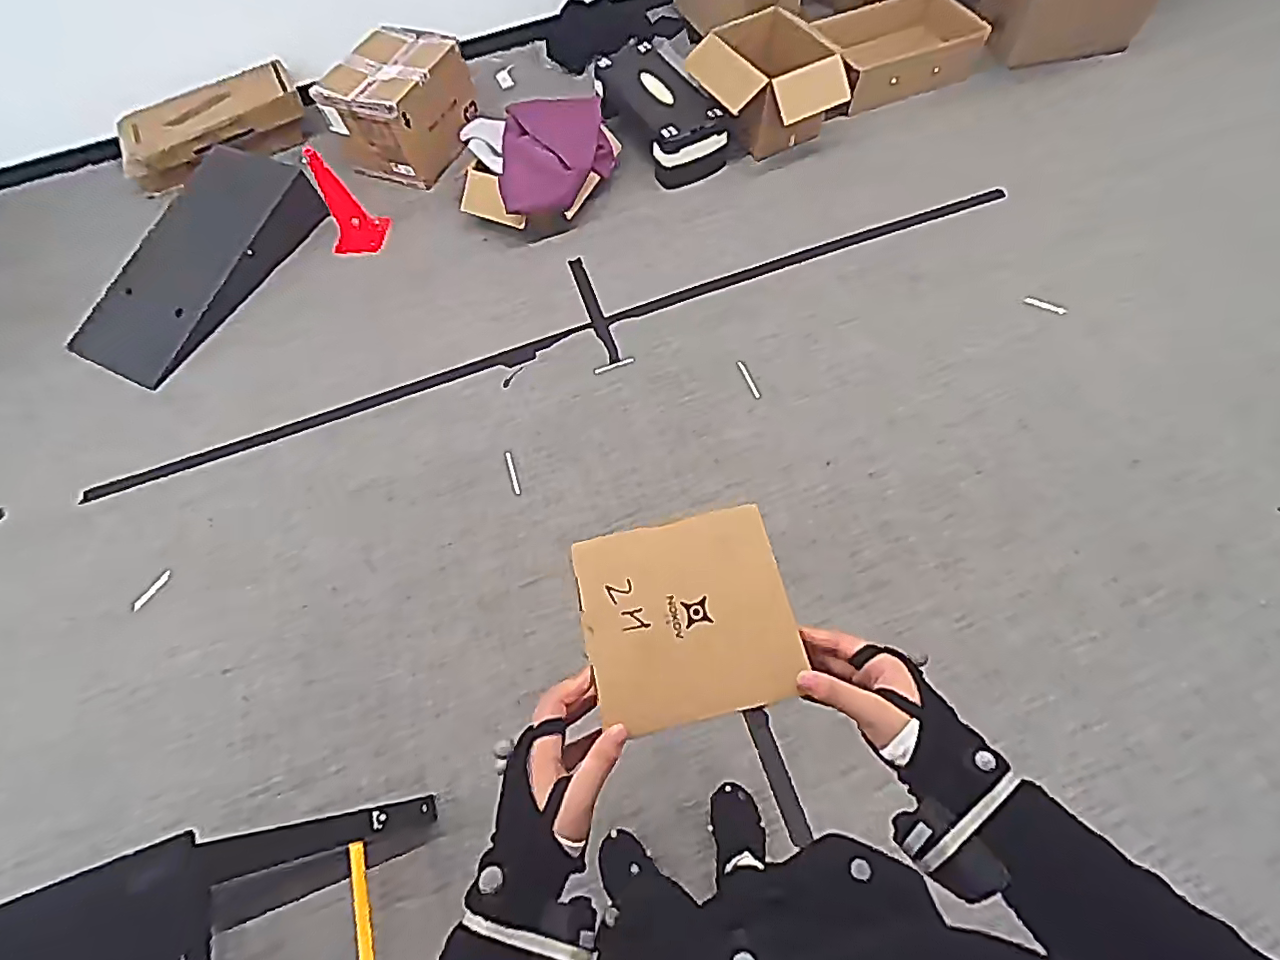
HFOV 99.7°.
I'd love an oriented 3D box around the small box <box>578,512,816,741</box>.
[{"bbox_3d":[0.046,0.148,0.536,0.179,0.176,0.168,-12,67,-2],"label":"small box"}]
